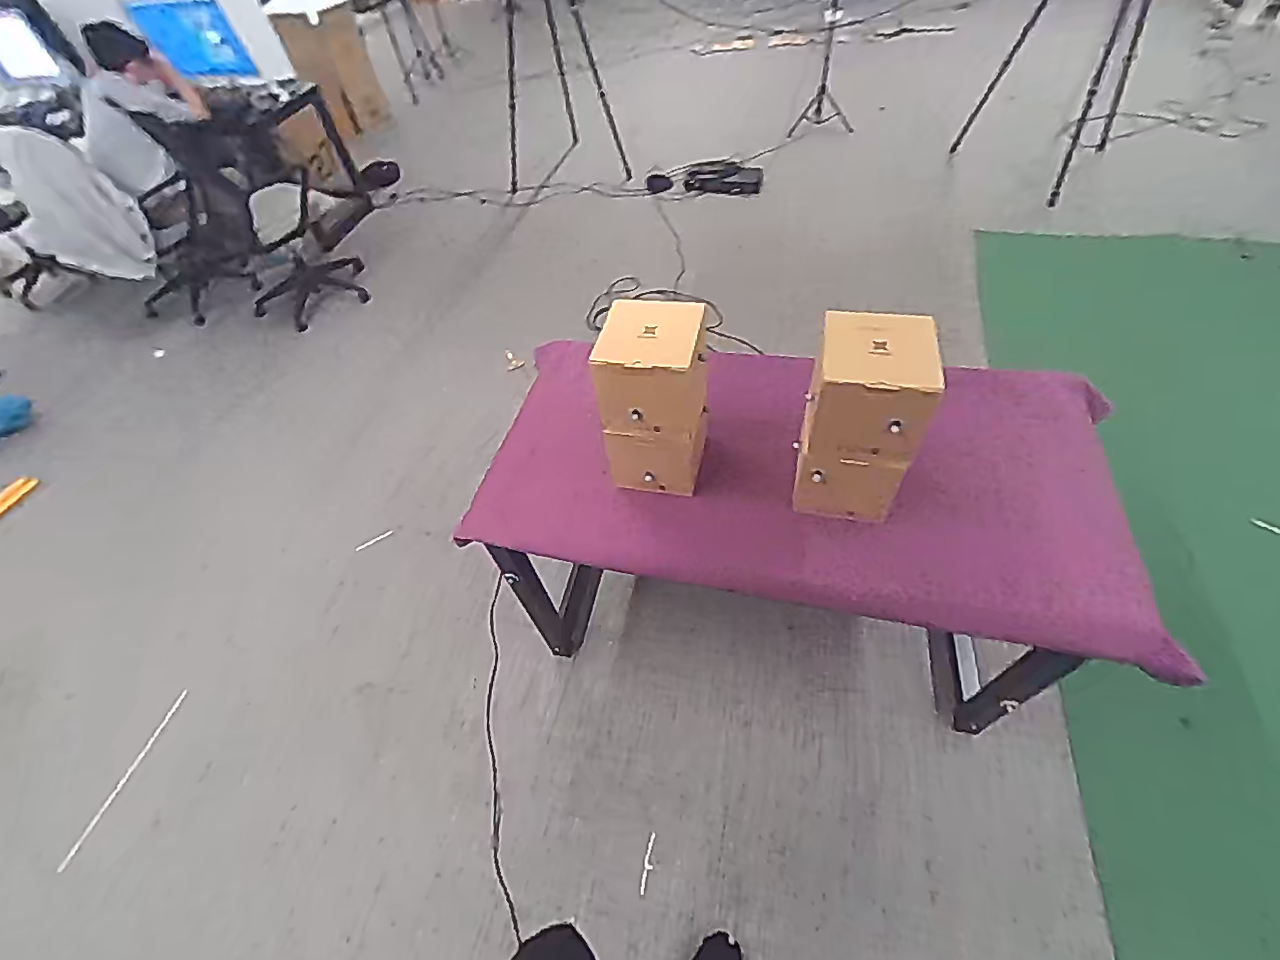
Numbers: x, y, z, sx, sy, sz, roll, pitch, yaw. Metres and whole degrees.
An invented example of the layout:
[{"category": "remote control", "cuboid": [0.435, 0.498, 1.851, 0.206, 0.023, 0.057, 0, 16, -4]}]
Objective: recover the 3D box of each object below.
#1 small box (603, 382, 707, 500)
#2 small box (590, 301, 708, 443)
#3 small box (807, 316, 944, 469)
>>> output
[{"category": "small box", "cuboid": [0.036, -0.087, 1.079, 0.168, 0.176, 0.179, 8, 53, 13]}, {"category": "small box", "cuboid": [0.023, -0.190, 0.954, 0.168, 0.176, 0.179, 7, 53, 12]}, {"category": "small box", "cuboid": [0.369, -0.139, 0.873, 0.168, 0.176, 0.179, 8, 52, 12]}]
